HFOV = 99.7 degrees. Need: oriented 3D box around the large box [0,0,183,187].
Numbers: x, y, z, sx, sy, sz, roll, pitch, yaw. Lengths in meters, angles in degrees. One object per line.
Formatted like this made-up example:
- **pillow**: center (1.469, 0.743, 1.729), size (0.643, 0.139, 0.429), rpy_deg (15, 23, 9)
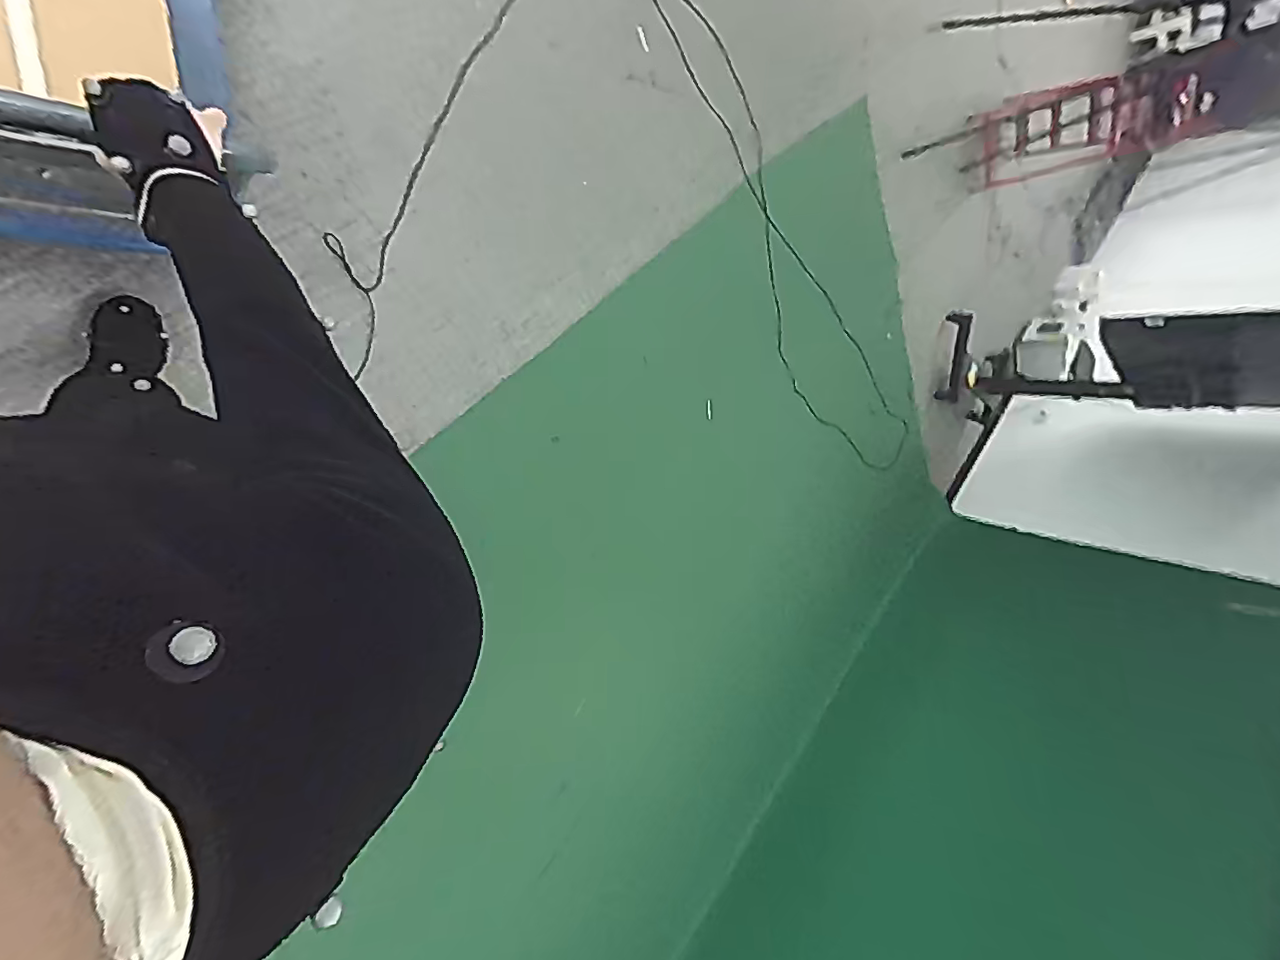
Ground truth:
- **large box**: center (-0.916, -0.710, 0.802), size (0.320, 0.320, 0.408), rpy_deg (-11, 106, -40)
